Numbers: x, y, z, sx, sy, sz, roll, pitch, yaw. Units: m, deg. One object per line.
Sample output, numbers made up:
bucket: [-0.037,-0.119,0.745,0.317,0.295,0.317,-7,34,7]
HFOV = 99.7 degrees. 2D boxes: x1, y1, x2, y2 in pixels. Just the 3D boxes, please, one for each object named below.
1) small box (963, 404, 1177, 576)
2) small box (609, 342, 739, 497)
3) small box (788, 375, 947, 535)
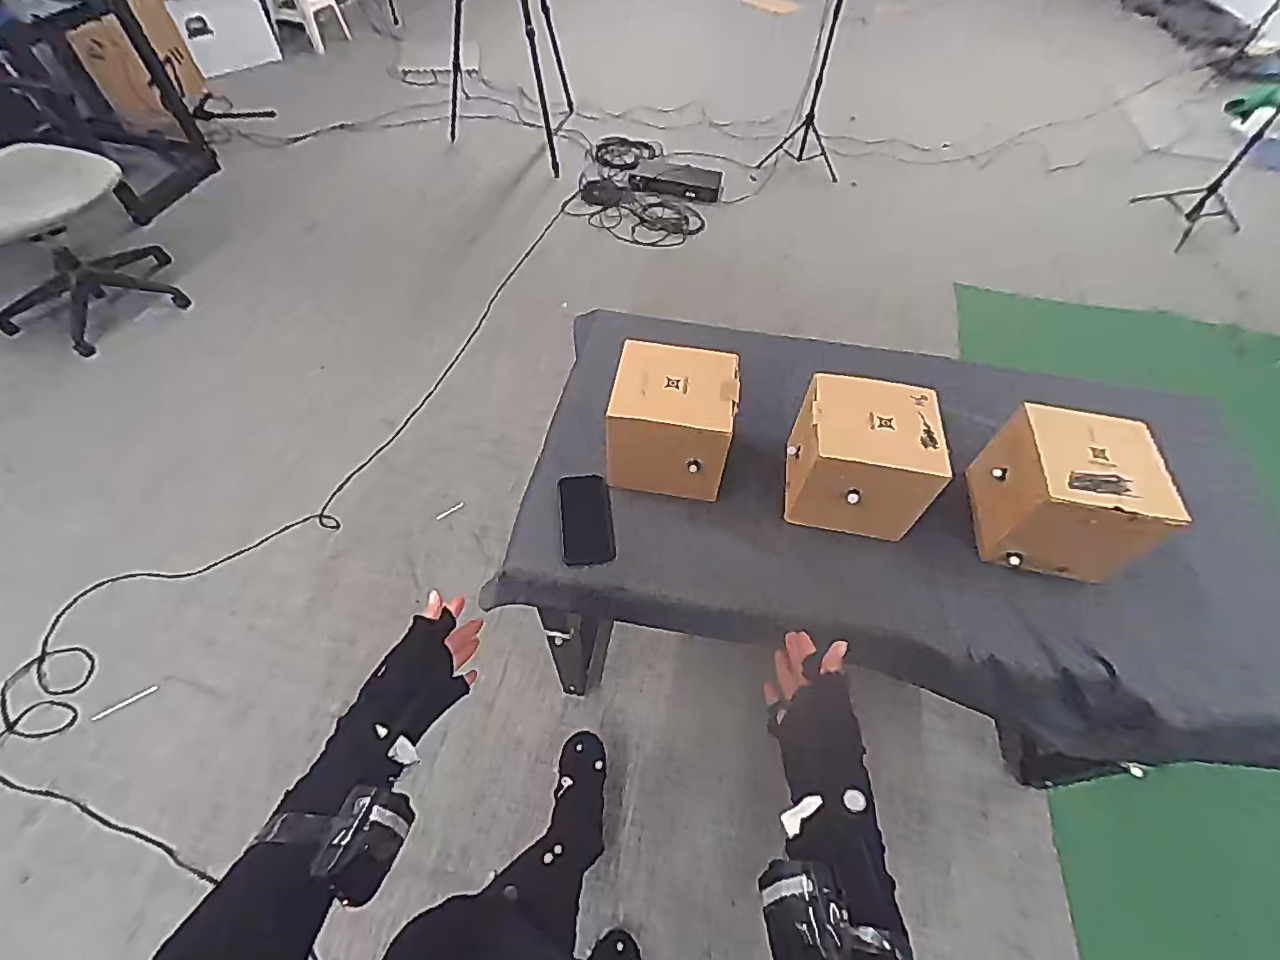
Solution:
small box: [0.609,0.019,0.796,0.168,0.176,0.179,12,54,5]
small box: [0.052,-0.091,0.851,0.179,0.176,0.168,7,53,4]
small box: [0.328,-0.034,0.822,0.179,0.176,0.168,9,55,5]
